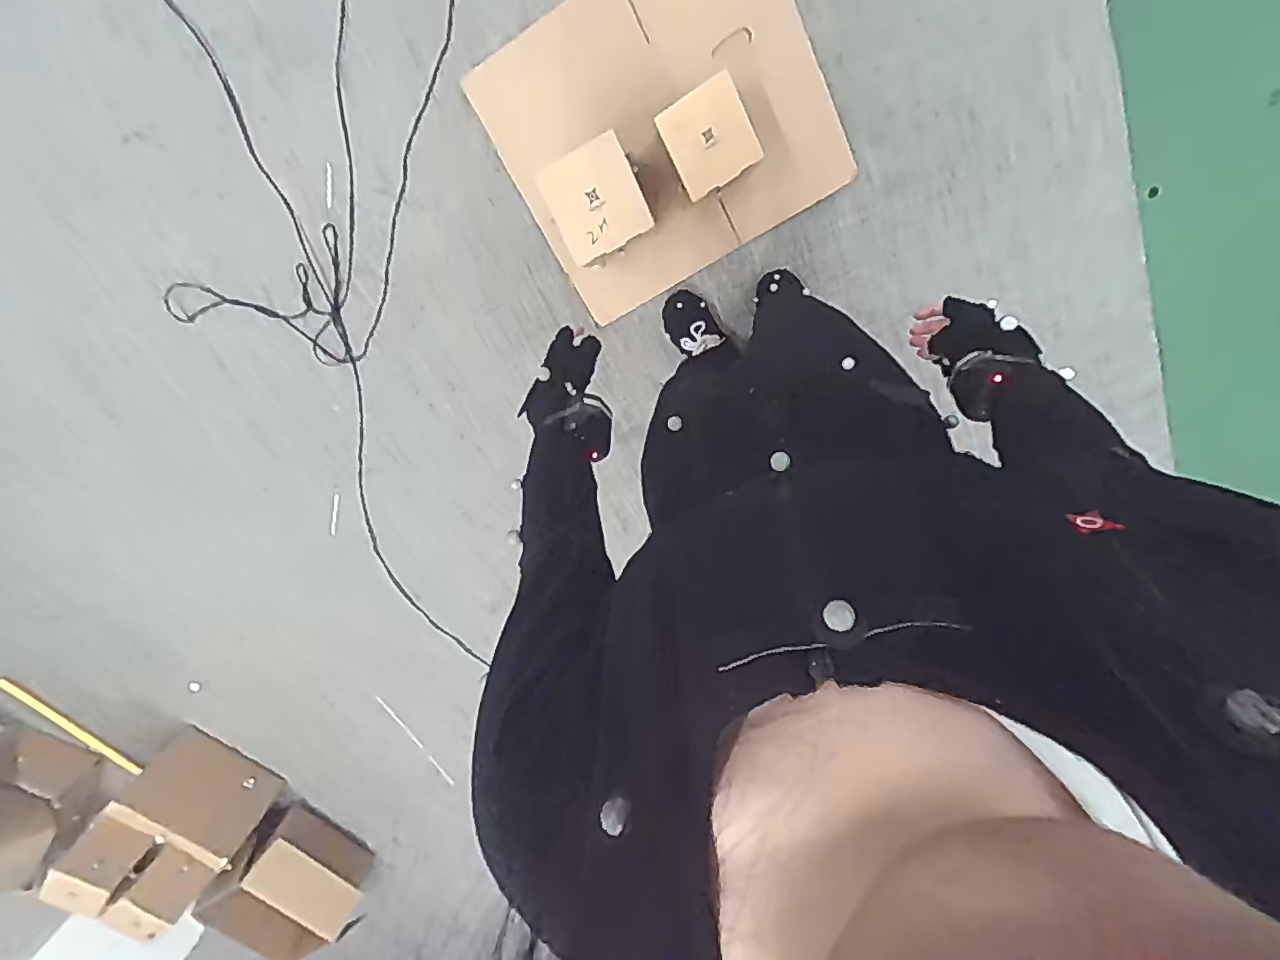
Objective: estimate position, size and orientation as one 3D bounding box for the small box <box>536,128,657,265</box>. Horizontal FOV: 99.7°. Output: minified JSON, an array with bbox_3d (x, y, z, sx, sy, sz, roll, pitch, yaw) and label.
[{"bbox_3d":[-0.075,-0.536,1.049,0.168,0.176,0.179,-24,109,13],"label":"small box"}]

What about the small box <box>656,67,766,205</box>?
[{"bbox_3d":[0.143,-0.714,1.147,0.168,0.176,0.179,-29,109,13],"label":"small box"}]
